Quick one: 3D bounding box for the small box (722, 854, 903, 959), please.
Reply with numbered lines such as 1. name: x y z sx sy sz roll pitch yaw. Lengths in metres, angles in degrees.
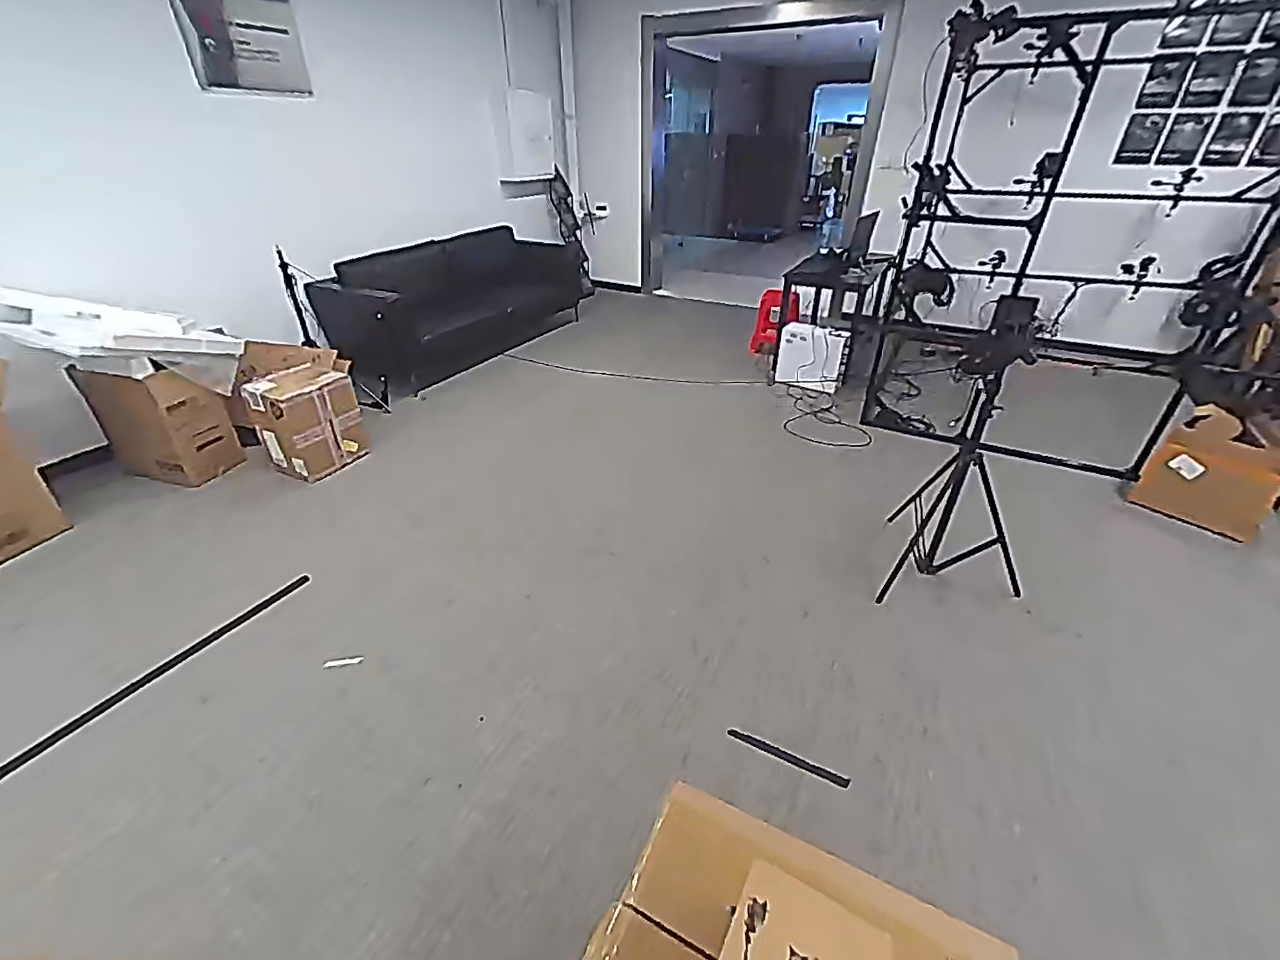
1. small box: 0.191 0.611 0.651 0.179 0.176 0.168 17 38 25
